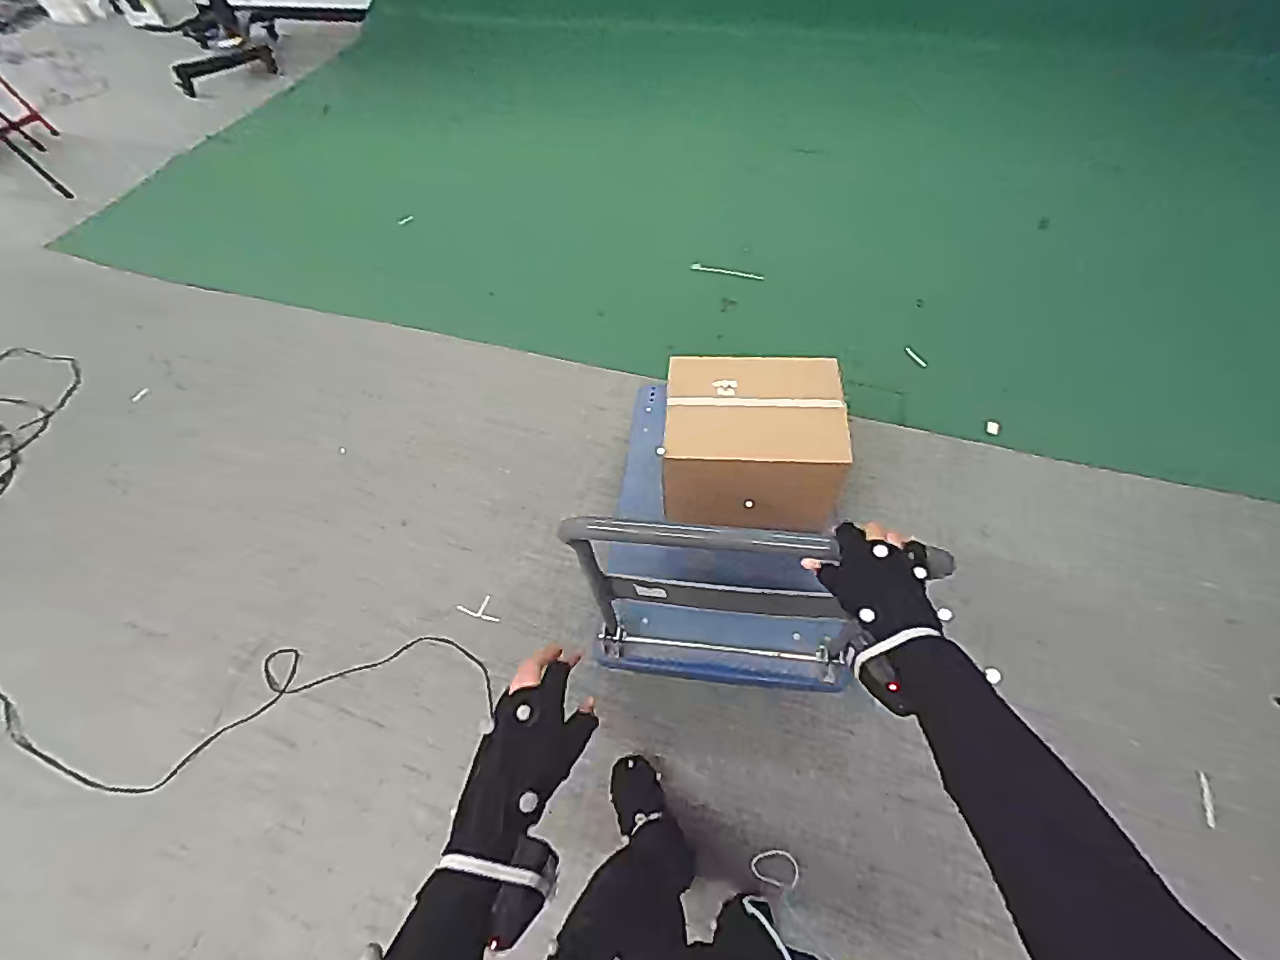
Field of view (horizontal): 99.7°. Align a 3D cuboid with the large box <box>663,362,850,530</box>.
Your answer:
[{"bbox_3d":[0.275,-0.078,1.369,0.408,0.320,0.320,1,56,7],"label":"large box"}]
